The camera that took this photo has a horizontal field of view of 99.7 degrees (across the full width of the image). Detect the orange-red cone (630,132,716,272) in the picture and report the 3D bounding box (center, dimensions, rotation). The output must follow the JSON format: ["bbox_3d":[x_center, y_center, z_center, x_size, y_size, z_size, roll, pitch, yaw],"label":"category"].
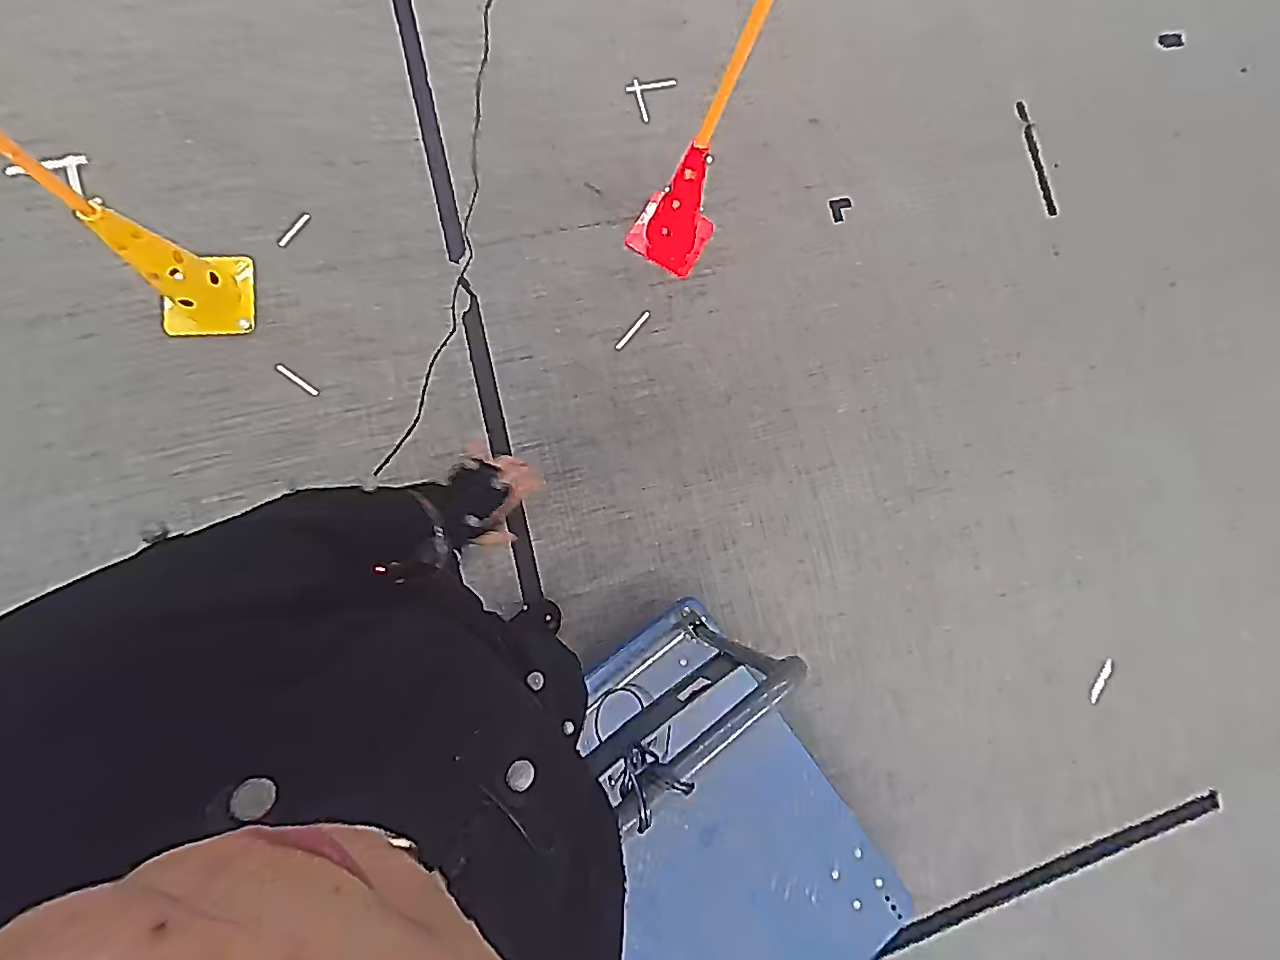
[{"bbox_3d":[0.115,-0.719,1.349,0.198,0.360,0.199,32,81,-2],"label":"orange-red cone"}]
